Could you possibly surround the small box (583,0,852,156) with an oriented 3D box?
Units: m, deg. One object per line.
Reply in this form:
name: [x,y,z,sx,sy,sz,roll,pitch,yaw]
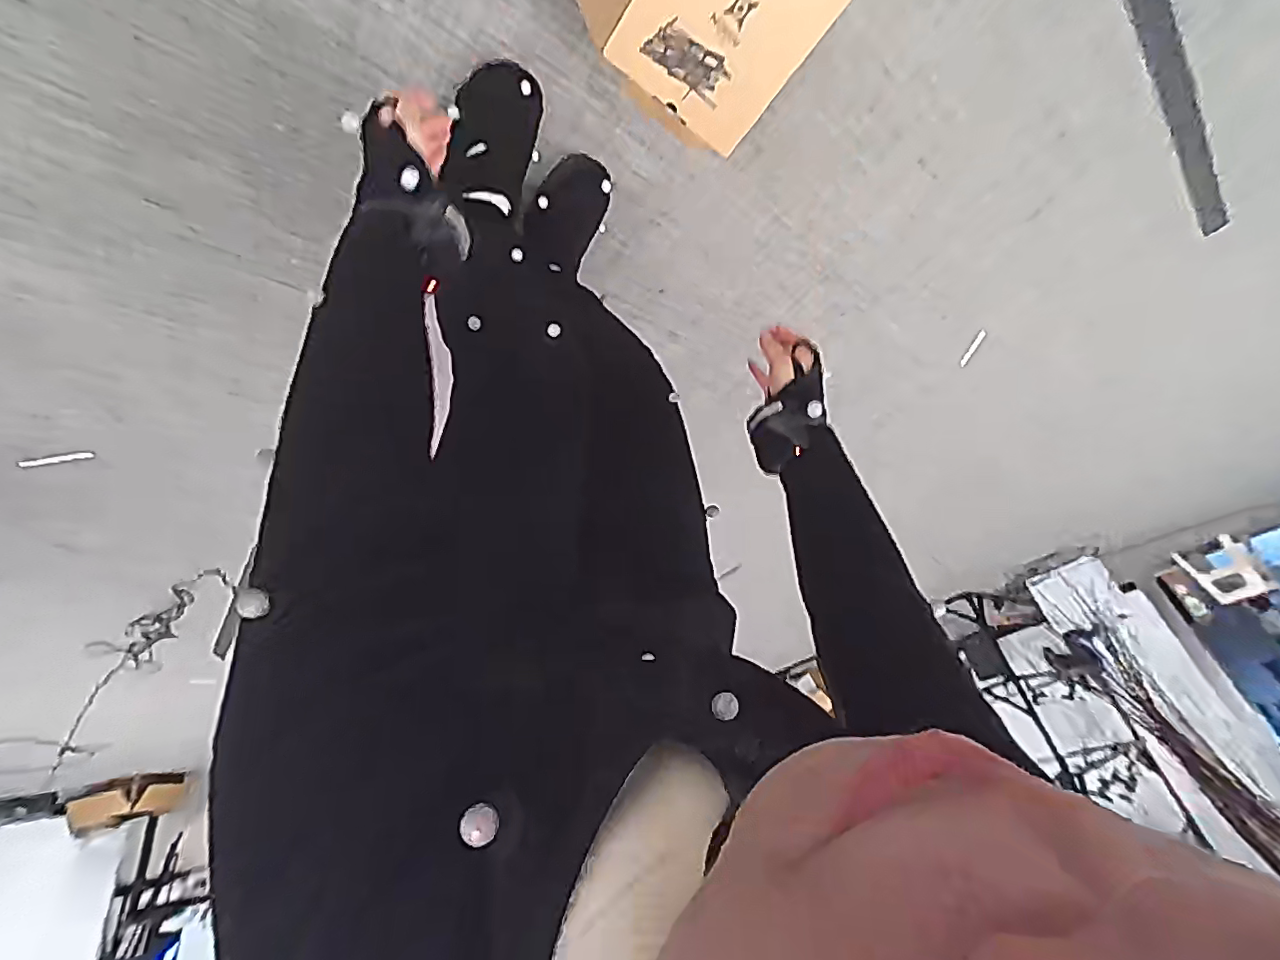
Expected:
small box: [0.060,-0.460,0.501,0.168,0.176,0.179,14,137,-39]
